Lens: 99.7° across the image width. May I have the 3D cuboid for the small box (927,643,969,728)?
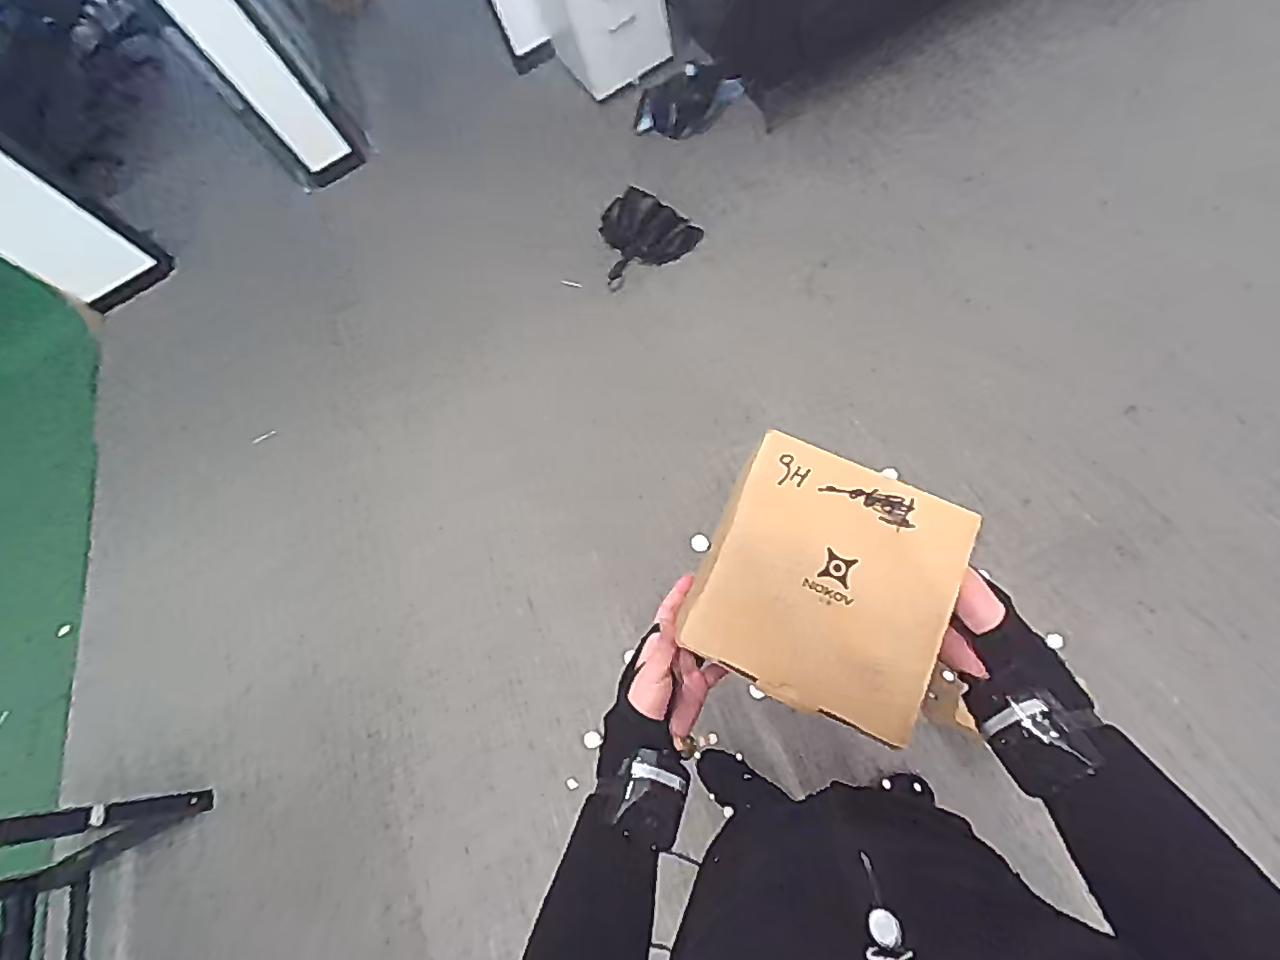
[{"bbox_3d":[0.760,0.481,1.206,0.179,0.176,0.168,13,72,20],"label":"small box"}]

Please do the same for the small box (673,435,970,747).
[{"bbox_3d":[0.137,0.090,0.467,0.168,0.176,0.179,23,80,7],"label":"small box"}]

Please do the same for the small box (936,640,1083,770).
[{"bbox_3d":[0.709,0.433,1.056,0.179,0.176,0.168,21,74,24],"label":"small box"}]
